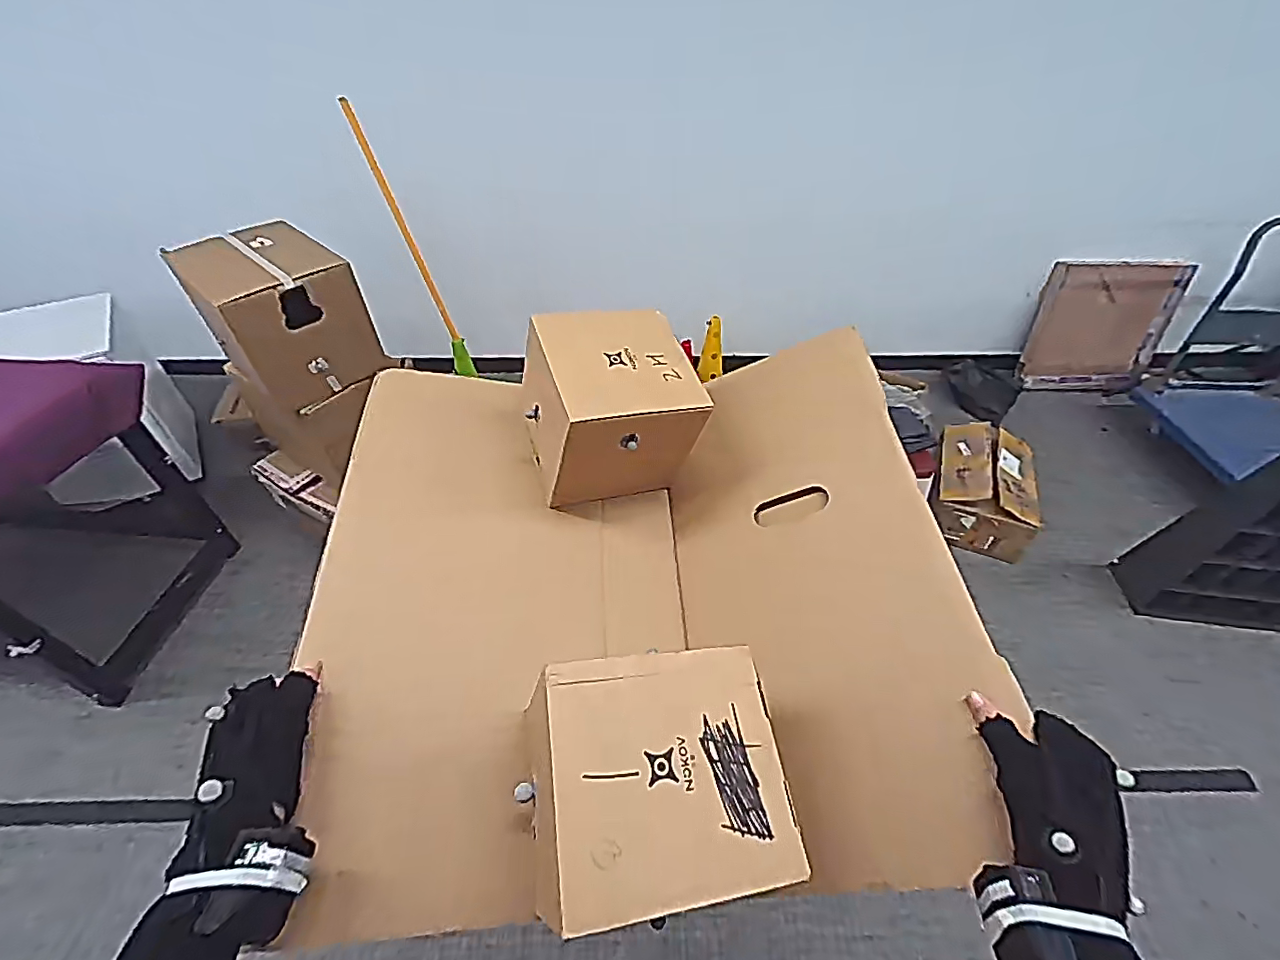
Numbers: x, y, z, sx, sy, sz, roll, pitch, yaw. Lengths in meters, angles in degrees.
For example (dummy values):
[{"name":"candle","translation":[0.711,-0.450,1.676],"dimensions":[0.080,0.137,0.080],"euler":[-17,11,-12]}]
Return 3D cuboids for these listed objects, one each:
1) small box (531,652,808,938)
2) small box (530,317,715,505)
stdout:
[{"name":"small box","translation":[0.005,0.256,0.459],"dimensions":[0.179,0.176,0.168],"euler":[0,57,-16]},{"name":"small box","translation":[-0.037,-0.084,0.683],"dimensions":[0.179,0.176,0.168],"euler":[-8,59,-24]}]
